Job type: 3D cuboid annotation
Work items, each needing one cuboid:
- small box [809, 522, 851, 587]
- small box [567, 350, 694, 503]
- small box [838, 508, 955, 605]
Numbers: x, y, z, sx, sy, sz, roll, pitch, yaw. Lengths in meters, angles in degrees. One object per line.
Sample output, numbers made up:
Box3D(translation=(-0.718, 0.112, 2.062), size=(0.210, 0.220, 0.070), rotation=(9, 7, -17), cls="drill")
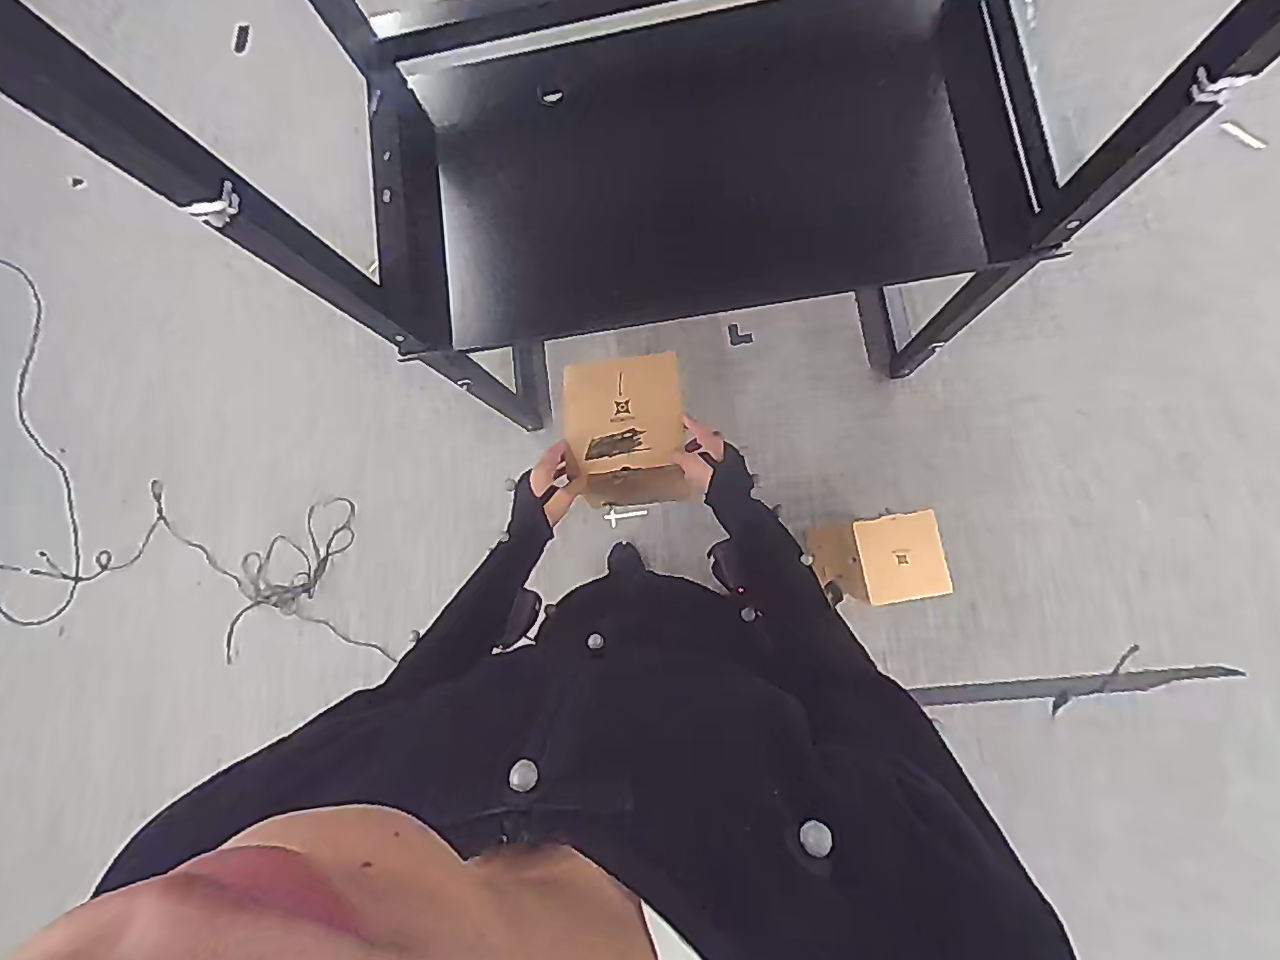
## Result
Box3D(translation=(0.583, 0.198, 1.499), size=(0.179, 0.176, 0.168), rotation=(-10, 82, 7), cls="small box")
Box3D(translation=(-0.009, -0.069, 0.817), size=(0.168, 0.176, 0.179), rotation=(-6, 71, 6), cls="small box")
Box3D(translation=(0.547, 0.164, 1.175), size=(0.168, 0.176, 0.179), rotation=(-11, 82, 6), cls="small box")
